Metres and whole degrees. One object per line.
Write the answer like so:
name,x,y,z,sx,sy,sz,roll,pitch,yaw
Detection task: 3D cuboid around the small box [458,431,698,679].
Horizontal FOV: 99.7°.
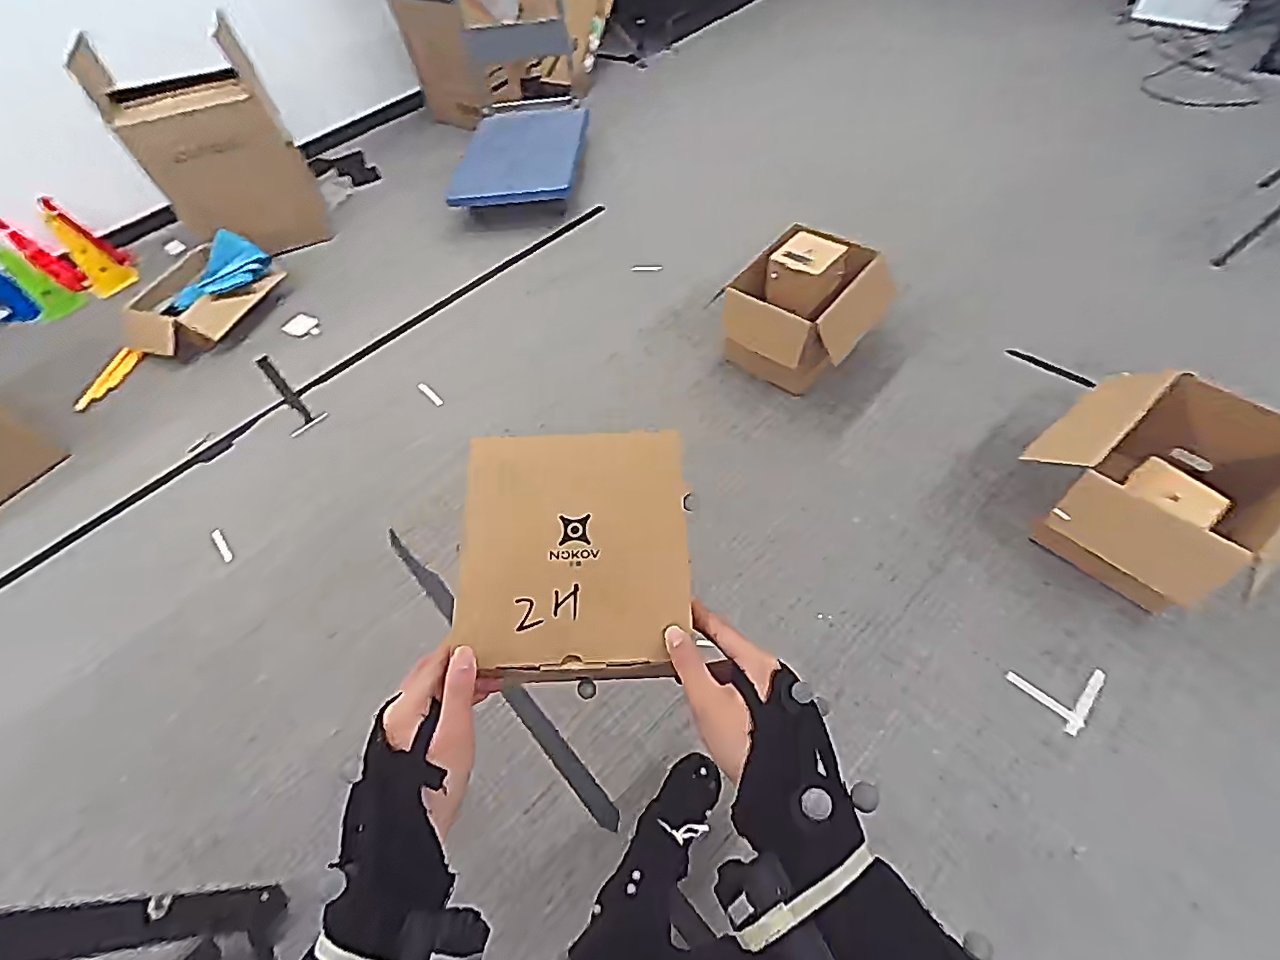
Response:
small box,-0.044,0.073,0.472,0.168,0.176,0.179,-2,66,0
